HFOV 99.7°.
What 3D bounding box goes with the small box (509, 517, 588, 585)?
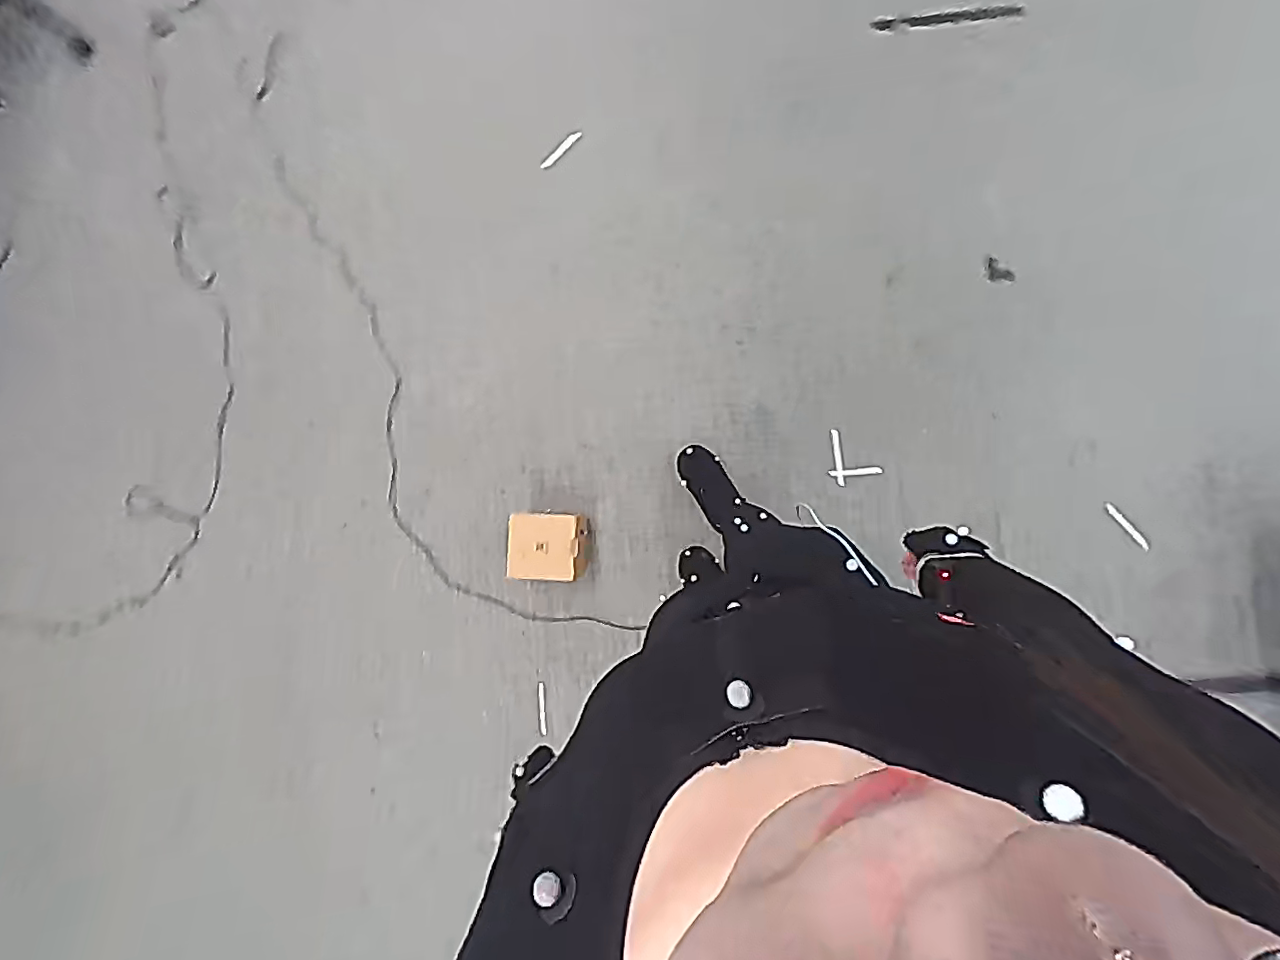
[{"bbox_3d":[-0.240,0.186,1.456,0.179,0.176,0.168,2,87,5],"label":"small box"}]
